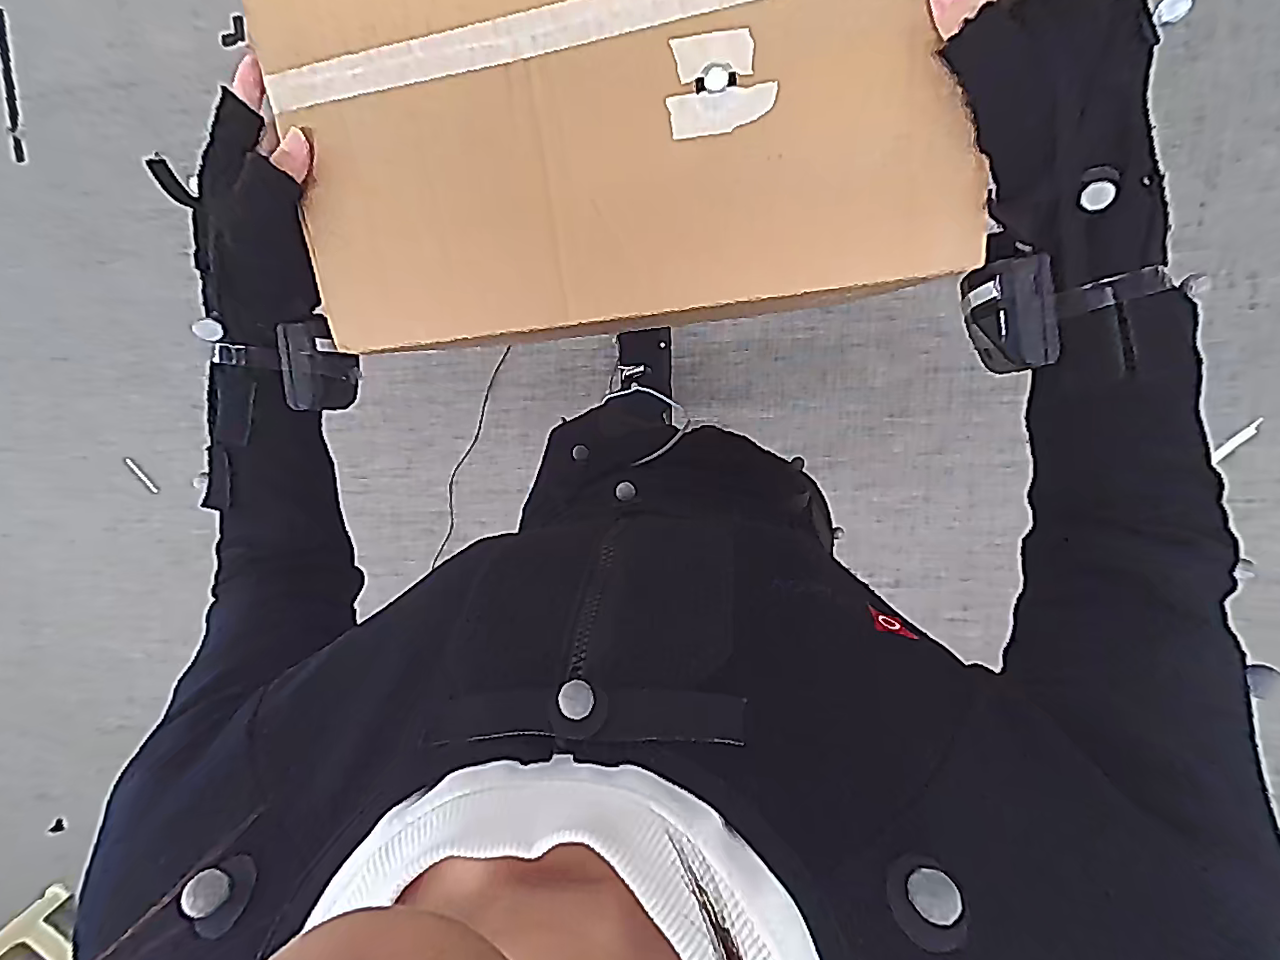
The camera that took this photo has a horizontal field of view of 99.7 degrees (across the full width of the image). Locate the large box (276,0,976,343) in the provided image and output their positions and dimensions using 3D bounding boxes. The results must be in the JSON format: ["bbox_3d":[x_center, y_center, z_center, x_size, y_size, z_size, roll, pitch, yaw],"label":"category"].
[{"bbox_3d":[-0.003,-0.301,0.451,0.408,0.320,0.320,-5,105,10],"label":"large box"}]
